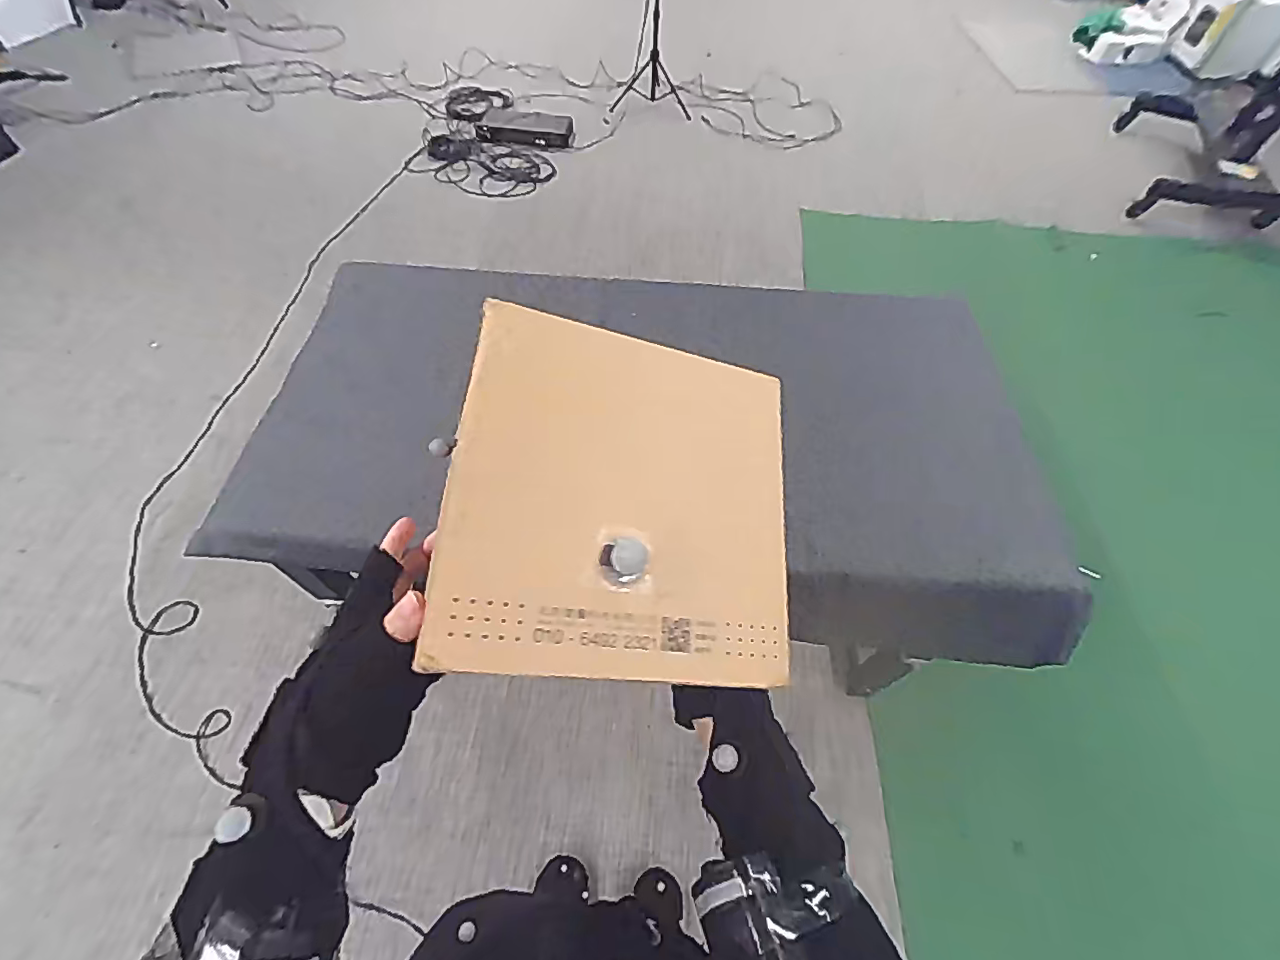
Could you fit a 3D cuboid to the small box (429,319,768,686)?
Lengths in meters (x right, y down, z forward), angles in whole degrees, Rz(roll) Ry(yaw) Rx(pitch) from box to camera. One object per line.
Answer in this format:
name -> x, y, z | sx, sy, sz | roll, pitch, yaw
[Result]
small box -> -0.035, 0.033, 0.345 | 0.168, 0.179, 0.176 | 10, 70, -19
